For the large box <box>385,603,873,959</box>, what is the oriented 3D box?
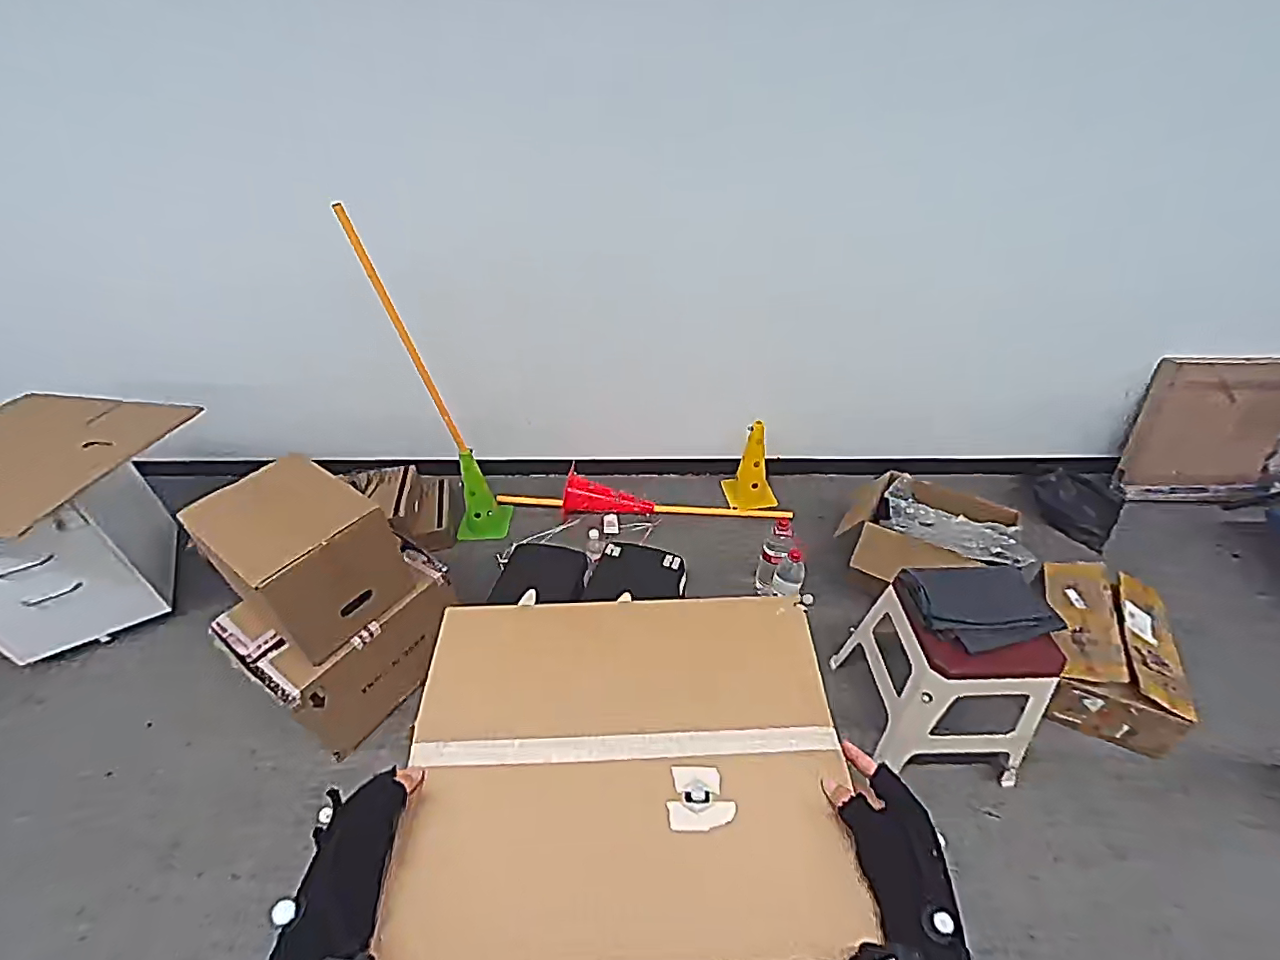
[{"bbox_3d":[-0.011,0.366,0.641,0.408,0.320,0.320,-2,48,0],"label":"large box"}]
